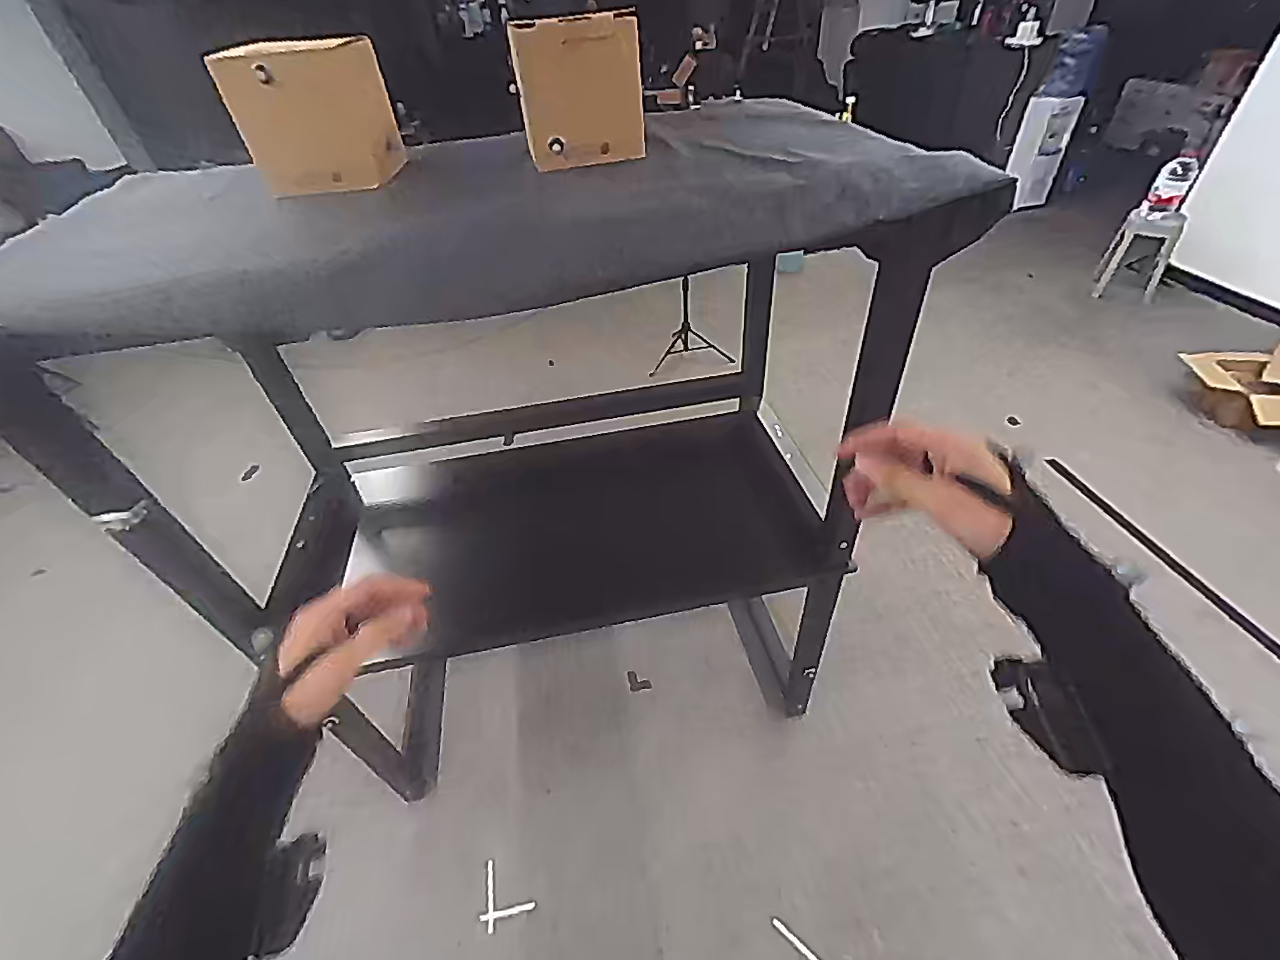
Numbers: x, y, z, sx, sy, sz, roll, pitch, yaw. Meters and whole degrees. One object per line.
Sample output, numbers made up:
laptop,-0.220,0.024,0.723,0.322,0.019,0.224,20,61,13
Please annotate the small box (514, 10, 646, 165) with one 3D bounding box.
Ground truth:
small box,-0.089,-0.590,0.819,0.168,0.176,0.179,-11,42,-7

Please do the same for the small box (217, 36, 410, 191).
small box,-0.464,-0.547,0.808,0.168,0.176,0.179,-6,42,-2
